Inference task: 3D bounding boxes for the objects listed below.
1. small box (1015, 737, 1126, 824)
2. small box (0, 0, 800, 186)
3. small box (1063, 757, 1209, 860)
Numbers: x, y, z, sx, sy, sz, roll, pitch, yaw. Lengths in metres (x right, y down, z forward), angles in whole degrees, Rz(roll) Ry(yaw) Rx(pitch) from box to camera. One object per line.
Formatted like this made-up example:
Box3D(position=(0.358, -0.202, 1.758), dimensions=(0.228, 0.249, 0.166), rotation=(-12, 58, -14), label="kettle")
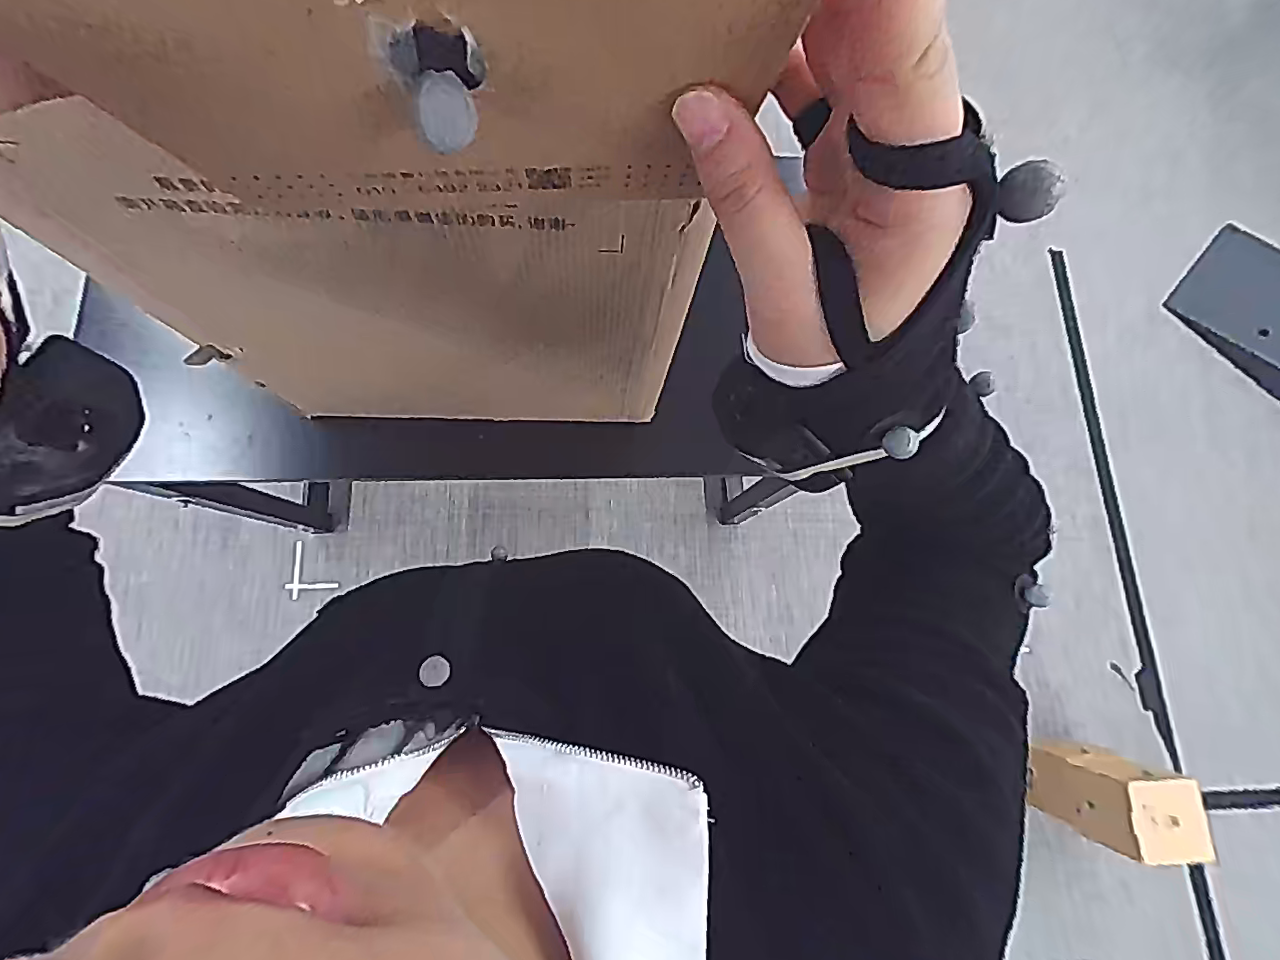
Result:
Box3D(position=(1.149, 0.791, 1.435), dimensions=(0.179, 0.176, 0.168), rotation=(0, 77, -4), label="small box")
Box3D(position=(-0.048, -0.176, 0.105), dimensions=(0.168, 0.176, 0.179), rotation=(-5, 97, -6), label="small box")
Box3D(position=(1.156, 0.763, 1.272), dimensions=(0.179, 0.176, 0.168), rotation=(1, 77, -5), label="small box")
